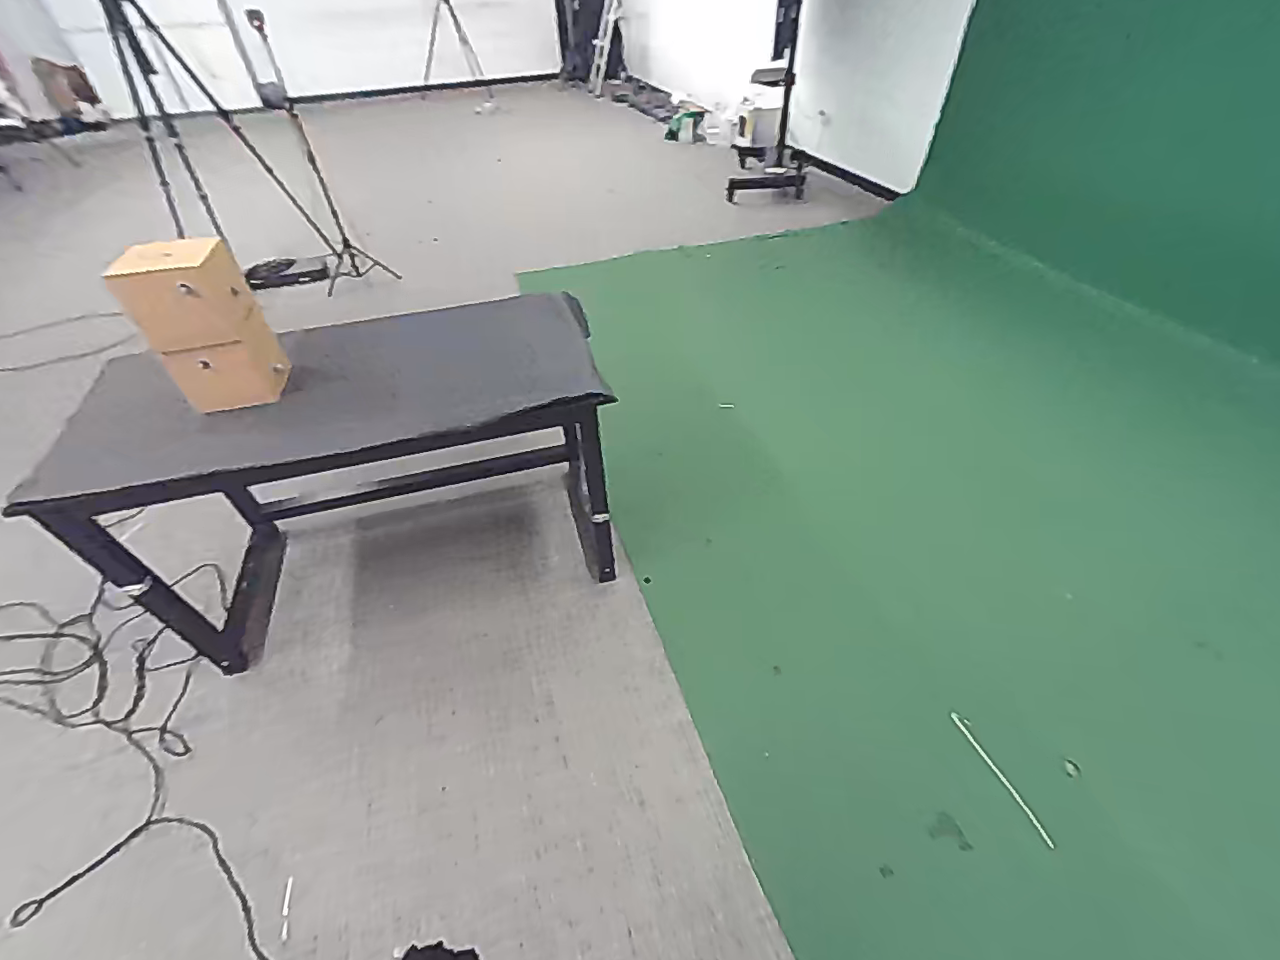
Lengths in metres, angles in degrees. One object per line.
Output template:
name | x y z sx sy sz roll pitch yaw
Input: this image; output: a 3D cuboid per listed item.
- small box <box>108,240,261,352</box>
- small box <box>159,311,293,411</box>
small box | -0.963 -0.397 1.167 0.179 0.176 0.168 -11 44 -11
small box | -0.968 -0.280 1.285 0.179 0.176 0.168 -10 44 -10
